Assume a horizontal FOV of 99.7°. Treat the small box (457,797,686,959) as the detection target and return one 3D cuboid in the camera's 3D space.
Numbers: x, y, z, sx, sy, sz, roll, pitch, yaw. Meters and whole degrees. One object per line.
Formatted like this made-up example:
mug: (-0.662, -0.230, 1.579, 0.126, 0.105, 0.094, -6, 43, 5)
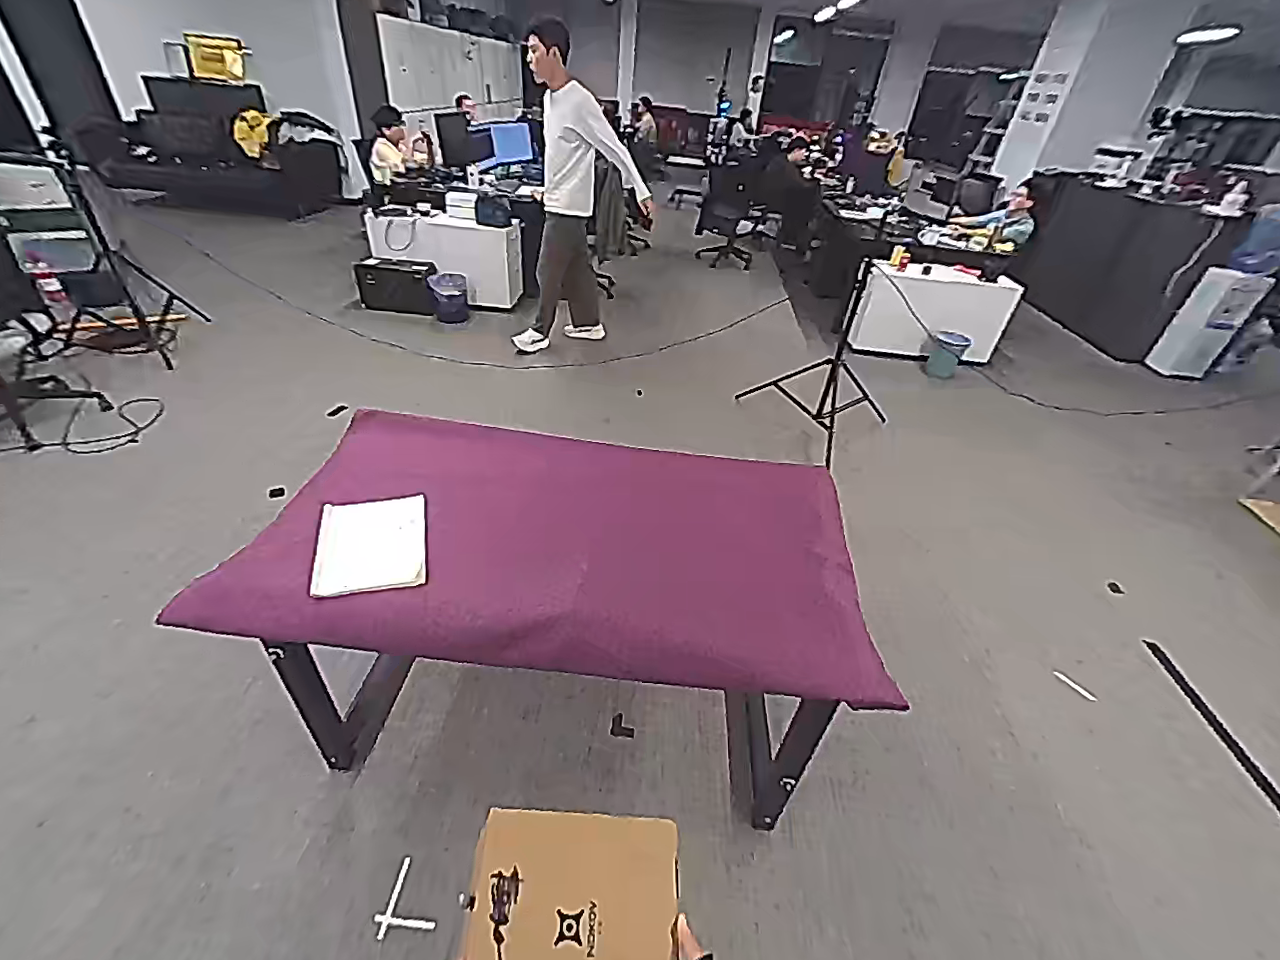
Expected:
small box: (-0.068, 0.407, 0.497, 0.179, 0.176, 0.168, 12, 46, -12)
